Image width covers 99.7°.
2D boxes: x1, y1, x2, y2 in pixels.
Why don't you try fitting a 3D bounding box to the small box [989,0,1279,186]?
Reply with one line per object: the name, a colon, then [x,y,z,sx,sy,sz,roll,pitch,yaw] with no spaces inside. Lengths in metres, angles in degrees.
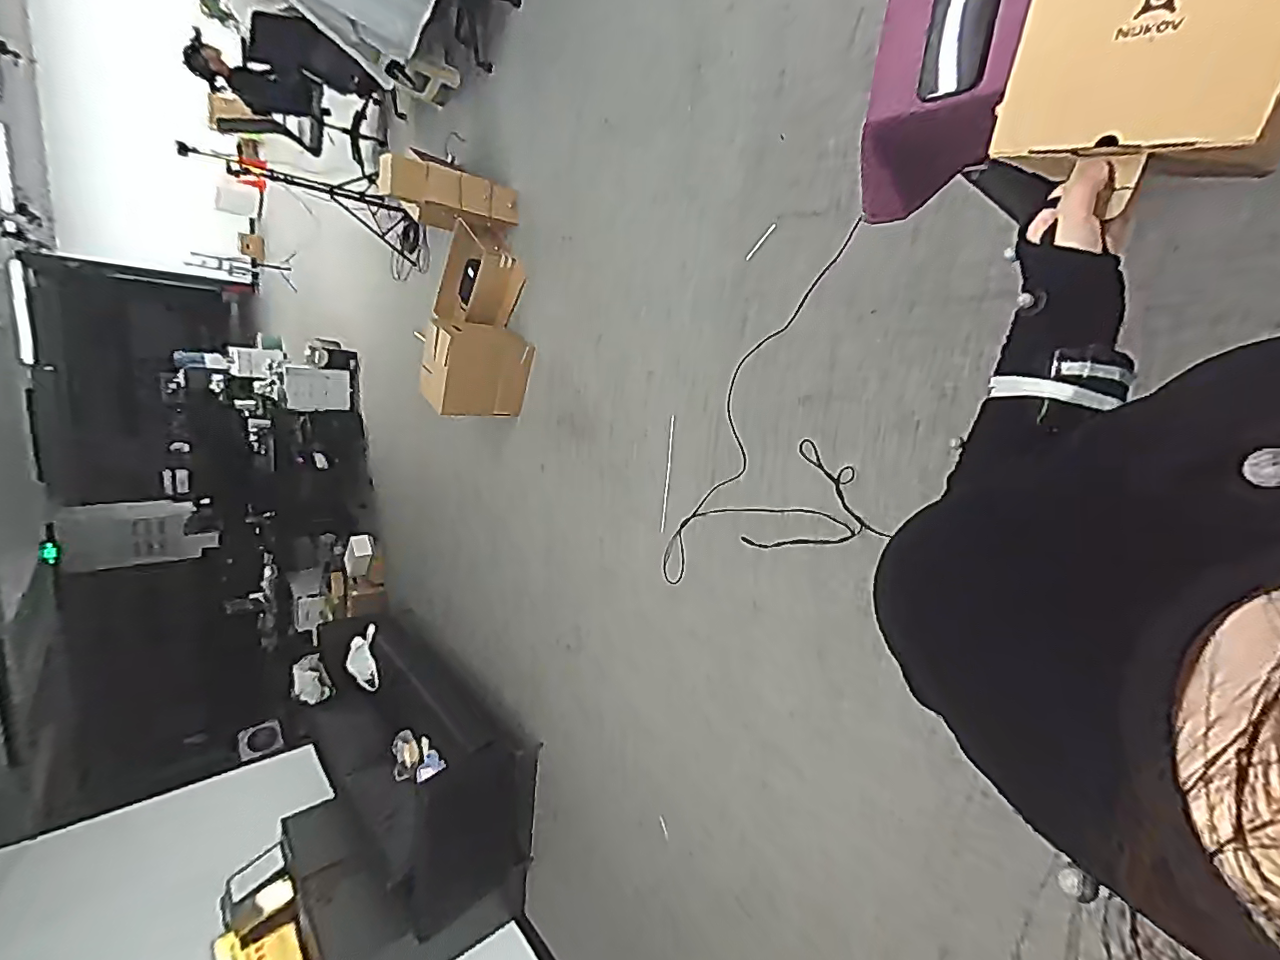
small box: [0.417,-0.339,0.423,0.168,0.176,0.179,29,125,42]
